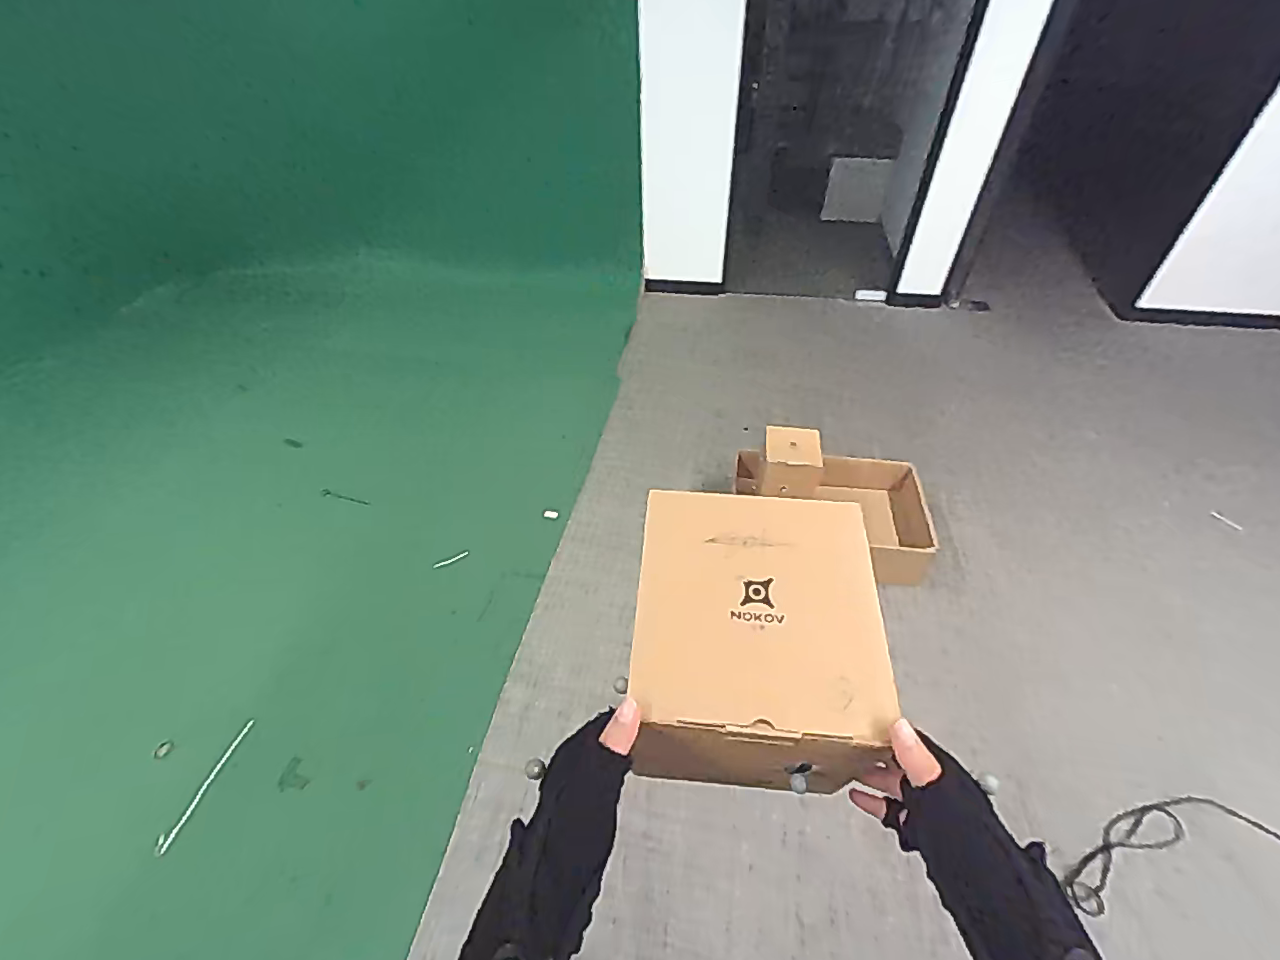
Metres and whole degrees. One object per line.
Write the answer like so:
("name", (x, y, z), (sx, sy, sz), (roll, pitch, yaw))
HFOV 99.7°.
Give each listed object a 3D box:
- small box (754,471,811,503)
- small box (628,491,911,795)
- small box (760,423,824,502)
("small box", (0.476, 0.062, 1.827), (0.168, 0.176, 0.179), (7, 45, 8))
("small box", (0.086, 0.132, 0.426), (0.168, 0.176, 0.179), (5, 51, 5))
("small box", (0.475, -0.057, 1.715), (0.168, 0.176, 0.179), (6, 45, 7))
